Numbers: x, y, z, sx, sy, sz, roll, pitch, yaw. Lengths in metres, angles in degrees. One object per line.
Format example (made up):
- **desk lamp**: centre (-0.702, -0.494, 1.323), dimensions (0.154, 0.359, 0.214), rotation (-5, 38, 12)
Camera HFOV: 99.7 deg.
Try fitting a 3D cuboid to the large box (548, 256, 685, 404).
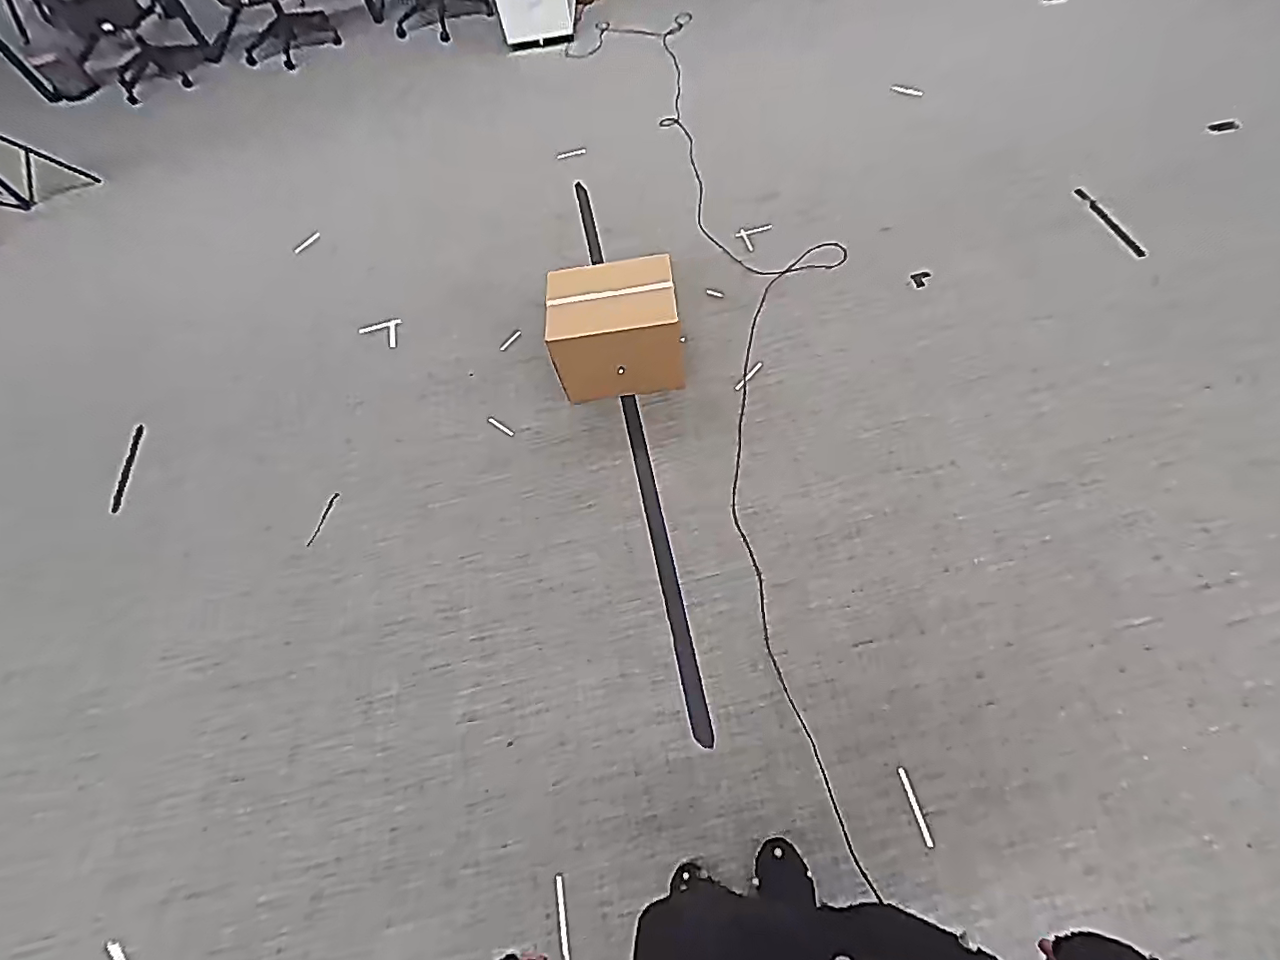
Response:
- **large box**: centre (-0.073, -0.488, 1.798), dimensions (0.408, 0.320, 0.320), rotation (-7, 60, 4)
